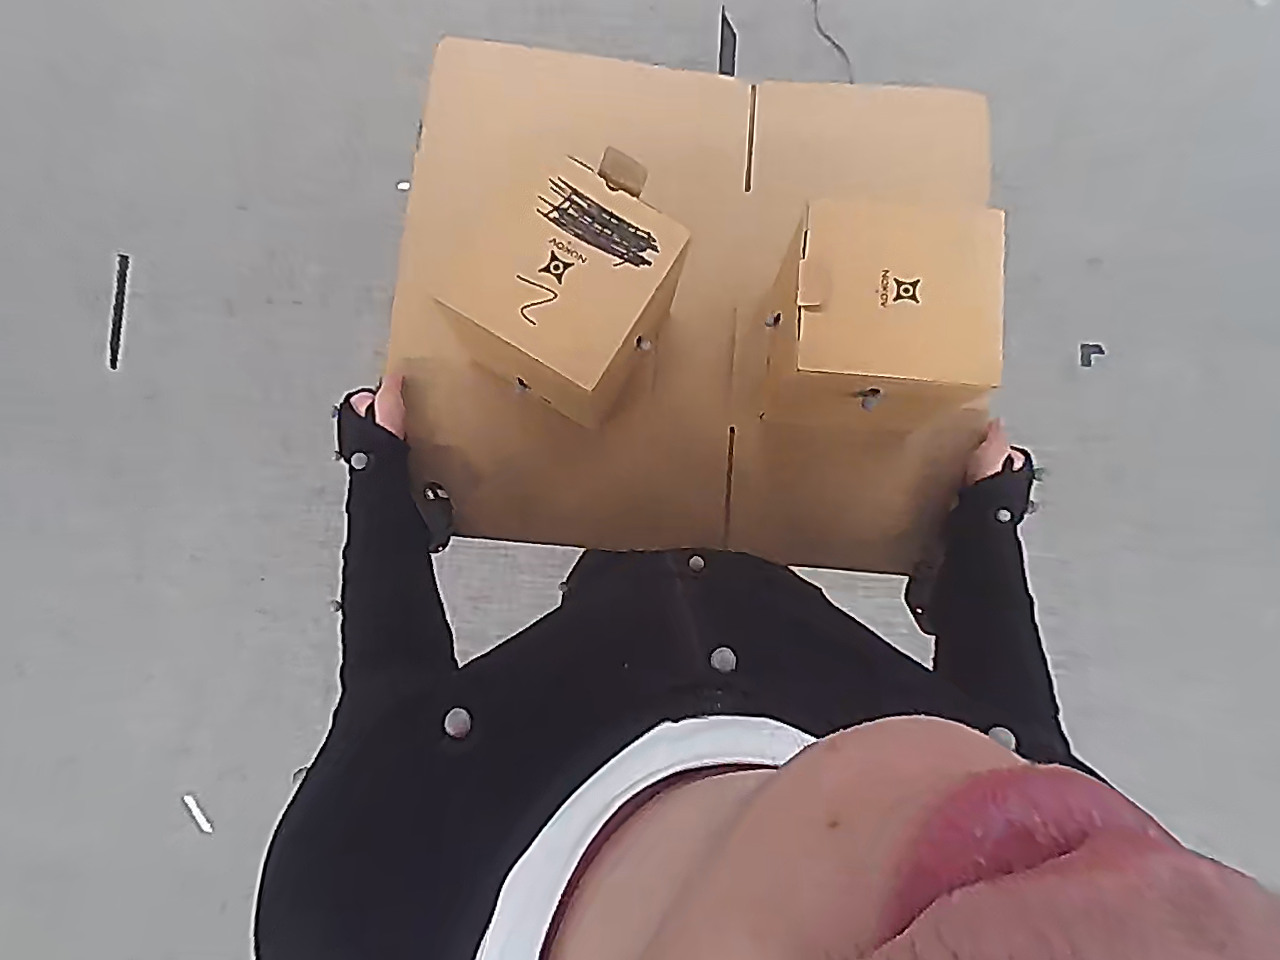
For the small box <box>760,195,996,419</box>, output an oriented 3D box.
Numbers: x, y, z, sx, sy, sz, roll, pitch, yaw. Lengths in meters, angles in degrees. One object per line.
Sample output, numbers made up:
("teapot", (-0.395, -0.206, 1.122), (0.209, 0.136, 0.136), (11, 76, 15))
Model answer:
("small box", (0.233, -0.165, 0.567), (0.179, 0.176, 0.168), (5, 83, 4))
